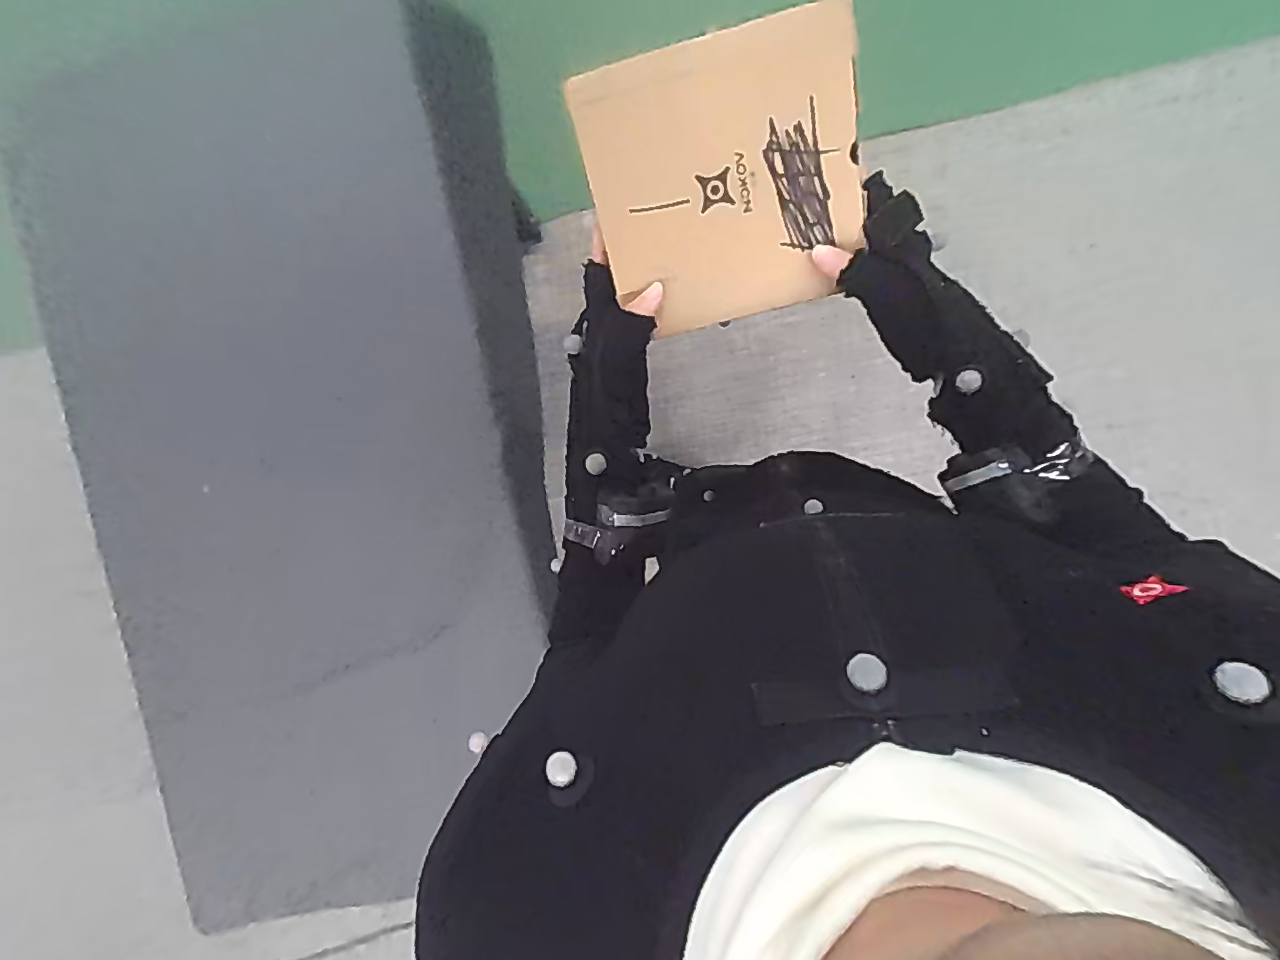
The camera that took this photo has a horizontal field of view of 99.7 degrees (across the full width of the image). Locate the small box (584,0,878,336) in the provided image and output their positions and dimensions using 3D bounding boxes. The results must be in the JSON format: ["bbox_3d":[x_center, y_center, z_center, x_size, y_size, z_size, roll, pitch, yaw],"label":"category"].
[{"bbox_3d":[0.065,-0.226,0.423,0.179,0.176,0.168,-12,114,6],"label":"small box"}]
